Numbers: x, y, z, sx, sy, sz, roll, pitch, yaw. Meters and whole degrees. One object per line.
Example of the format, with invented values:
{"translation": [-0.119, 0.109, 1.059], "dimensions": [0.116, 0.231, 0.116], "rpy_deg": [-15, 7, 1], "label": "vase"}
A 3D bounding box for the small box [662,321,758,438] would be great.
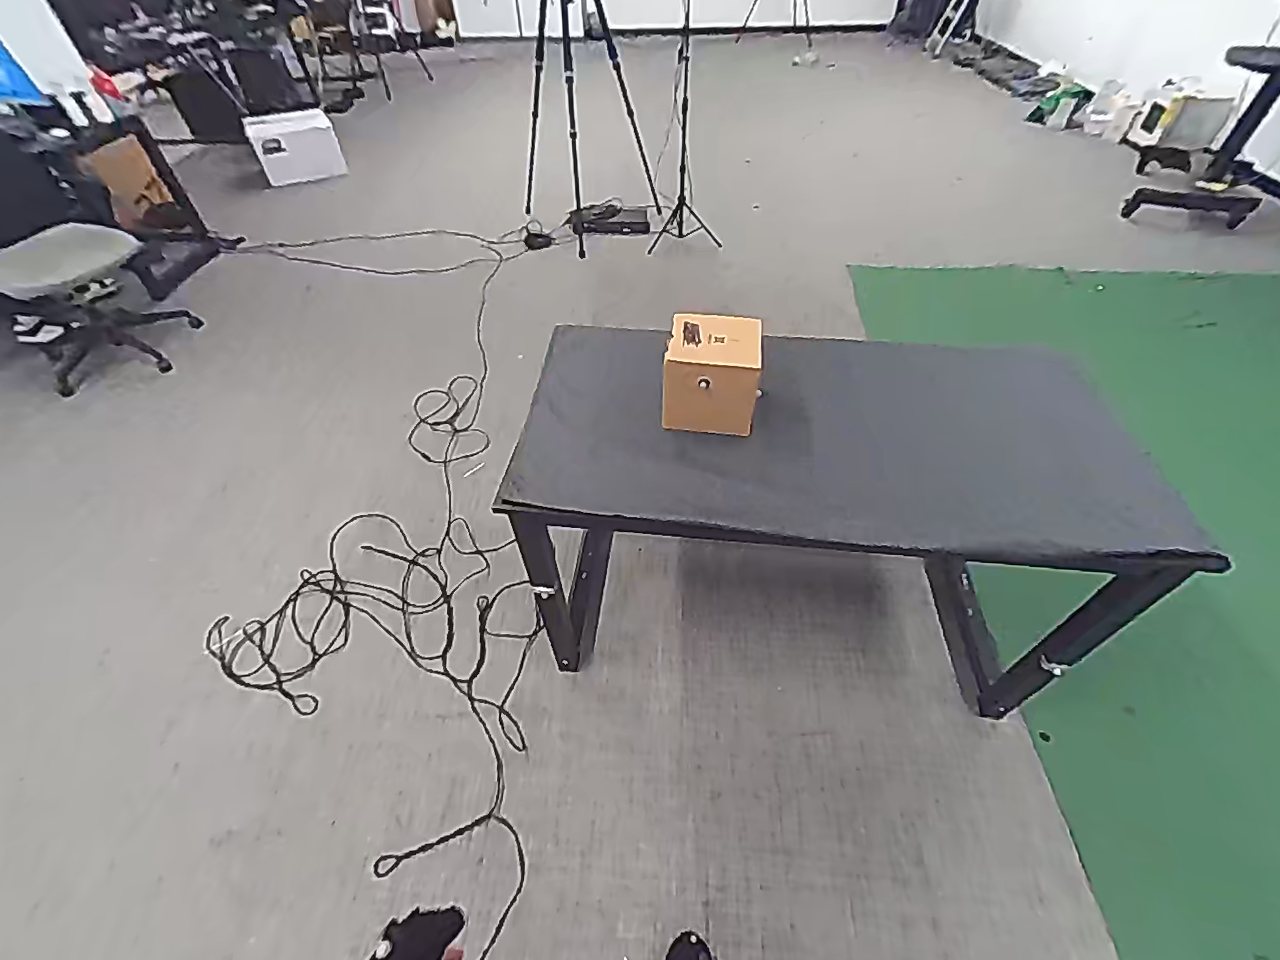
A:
{"translation": [0.139, -0.202, 1.097], "dimensions": [0.179, 0.176, 0.168], "rpy_deg": [7, 47, 6], "label": "small box"}
